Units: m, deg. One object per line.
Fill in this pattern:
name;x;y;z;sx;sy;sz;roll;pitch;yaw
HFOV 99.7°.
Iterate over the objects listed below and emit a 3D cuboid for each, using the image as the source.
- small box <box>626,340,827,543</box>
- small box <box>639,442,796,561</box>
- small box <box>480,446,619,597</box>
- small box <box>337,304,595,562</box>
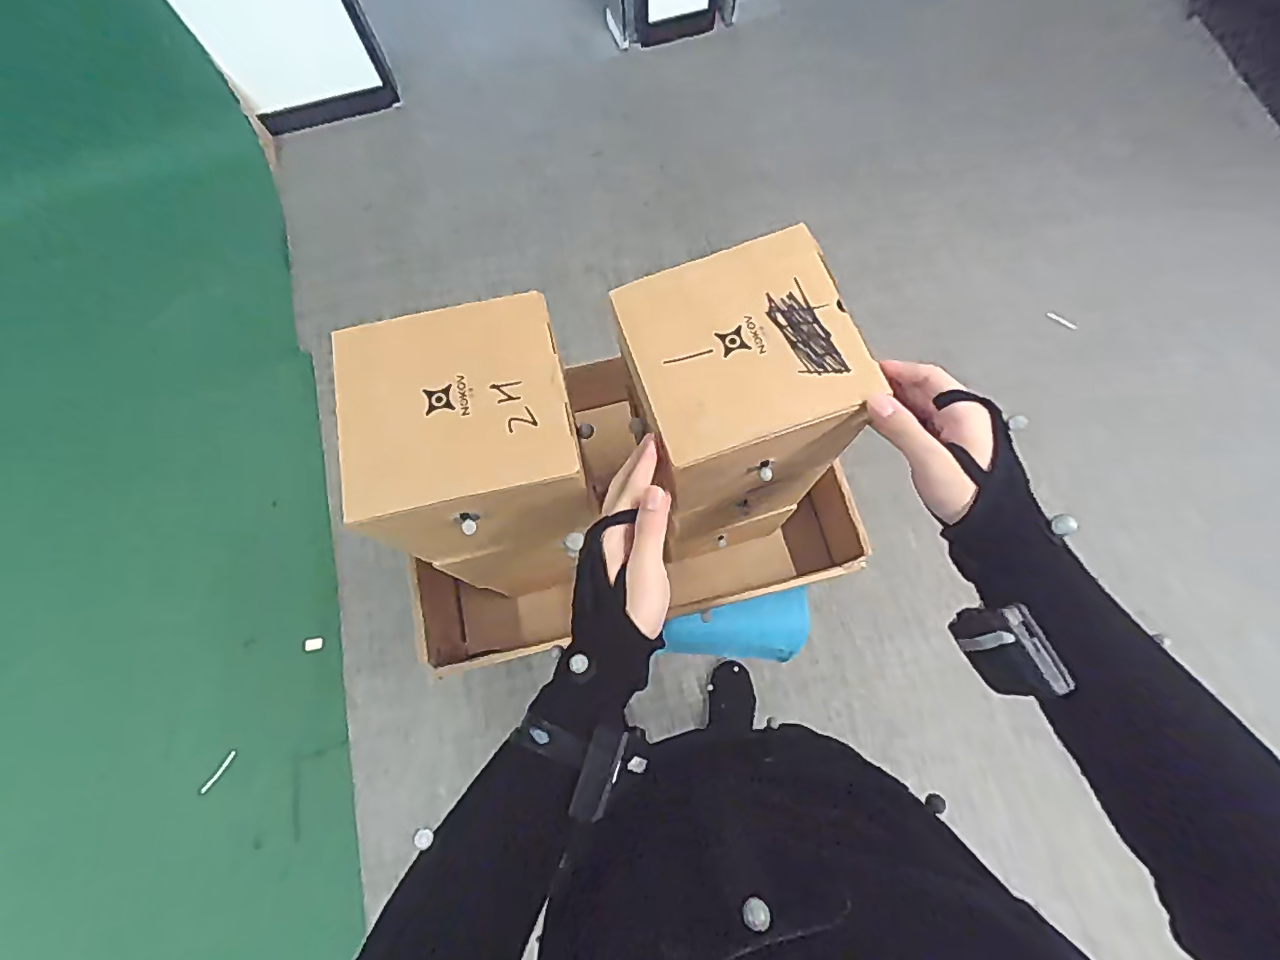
small box;0.096;-0.035;0.658;0.179;0.176;0.168;-19;73;-1
small box;0.112;0.014;0.814;0.179;0.176;0.168;-19;73;0
small box;-0.137;0.072;0.813;0.179;0.176;0.168;-14;72;-4
small box;-0.147;-0.030;0.500;0.179;0.176;0.168;-12;73;-3
